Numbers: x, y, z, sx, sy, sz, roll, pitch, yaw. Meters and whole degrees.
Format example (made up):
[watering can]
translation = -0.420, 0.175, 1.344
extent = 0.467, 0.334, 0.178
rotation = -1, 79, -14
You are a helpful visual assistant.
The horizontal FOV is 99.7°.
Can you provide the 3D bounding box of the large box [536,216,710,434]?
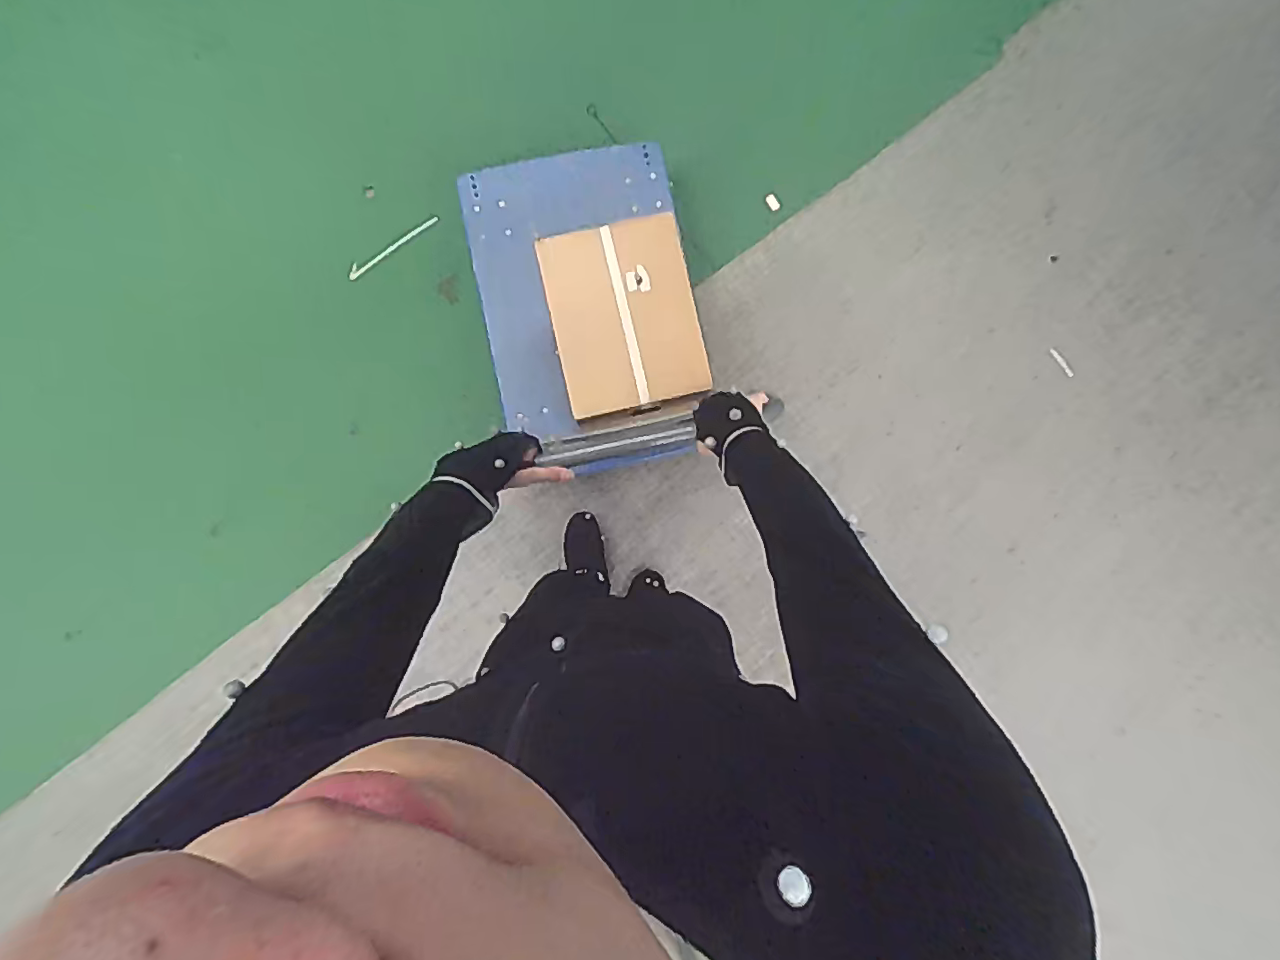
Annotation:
[large box]
translation = -0.041, -0.357, 1.340
extent = 0.320, 0.320, 0.408
rotation = -13, 88, -3
